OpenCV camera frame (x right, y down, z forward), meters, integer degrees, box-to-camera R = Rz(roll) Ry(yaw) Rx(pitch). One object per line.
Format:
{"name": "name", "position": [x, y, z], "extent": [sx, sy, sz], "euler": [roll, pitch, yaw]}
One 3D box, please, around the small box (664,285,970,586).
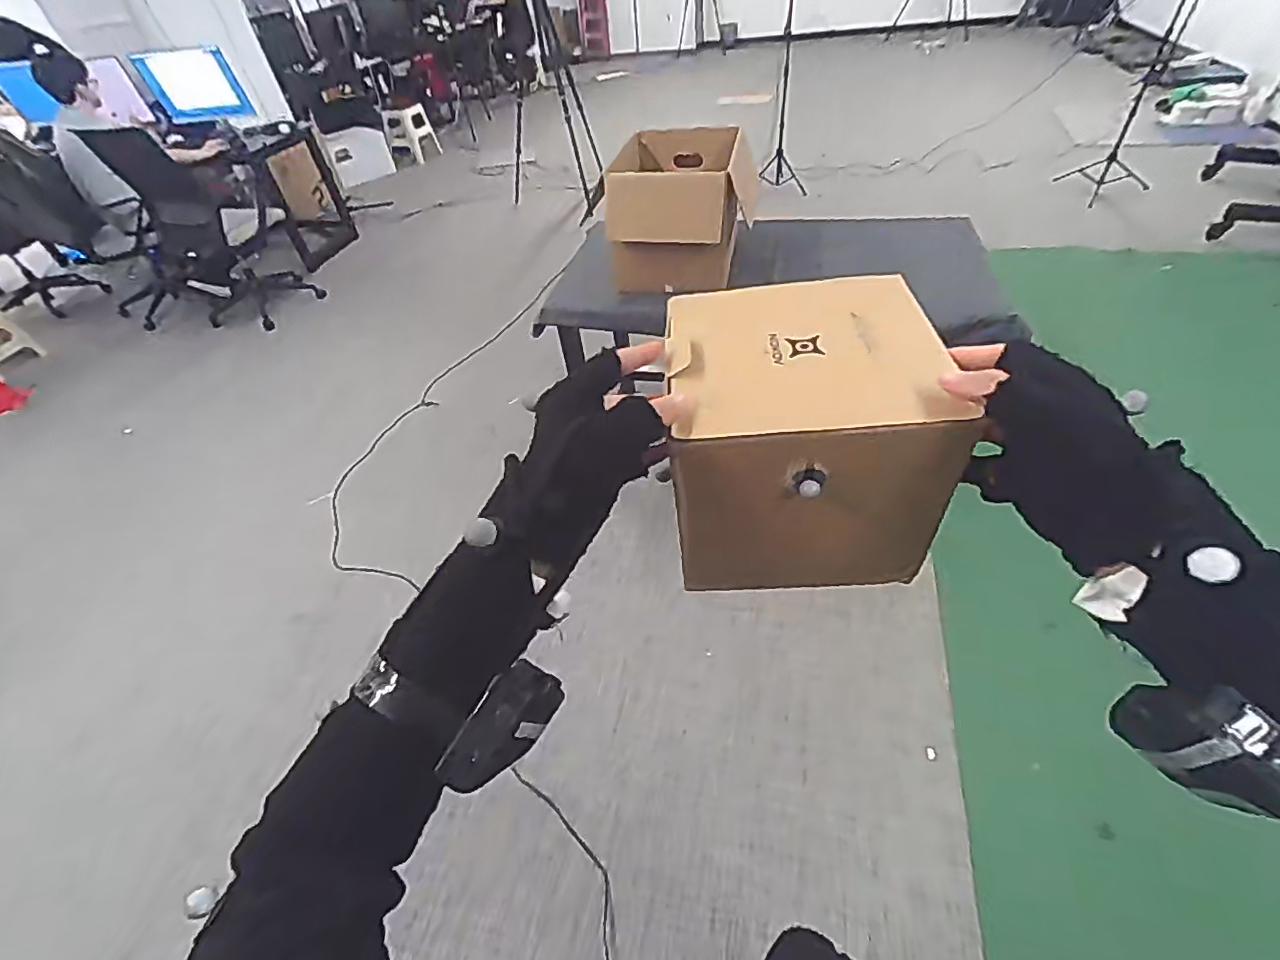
{"name": "small box", "position": [0.113, -0.029, 0.423], "extent": [0.179, 0.176, 0.168], "euler": [-3, 47, 5]}
